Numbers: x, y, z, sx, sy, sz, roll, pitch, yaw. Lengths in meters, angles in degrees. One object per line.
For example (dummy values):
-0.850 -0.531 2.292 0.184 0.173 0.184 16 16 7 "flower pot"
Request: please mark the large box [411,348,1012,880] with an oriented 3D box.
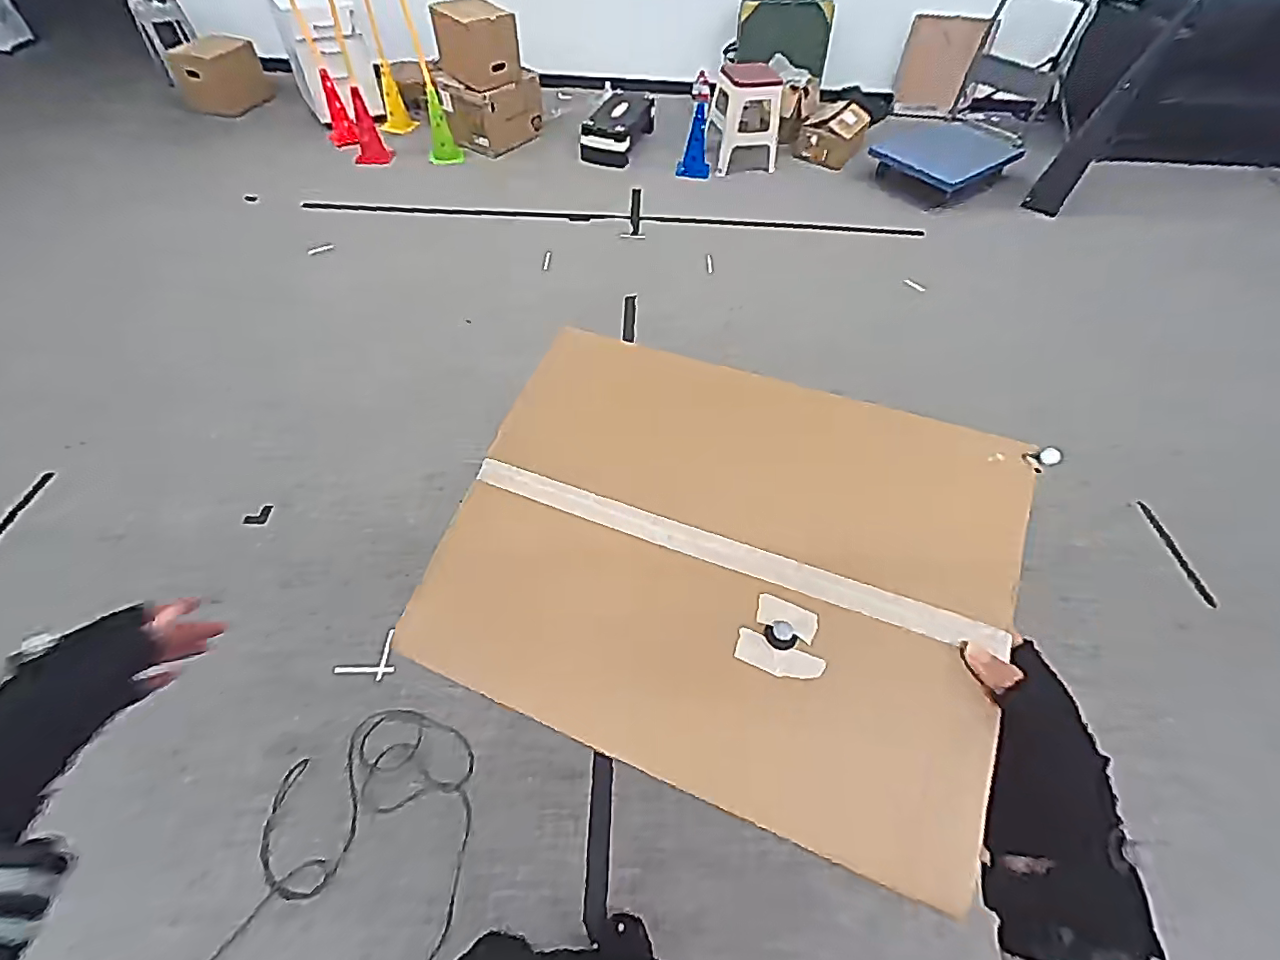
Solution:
0.073 0.116 0.556 0.408 0.320 0.320 17 70 15 "large box"
